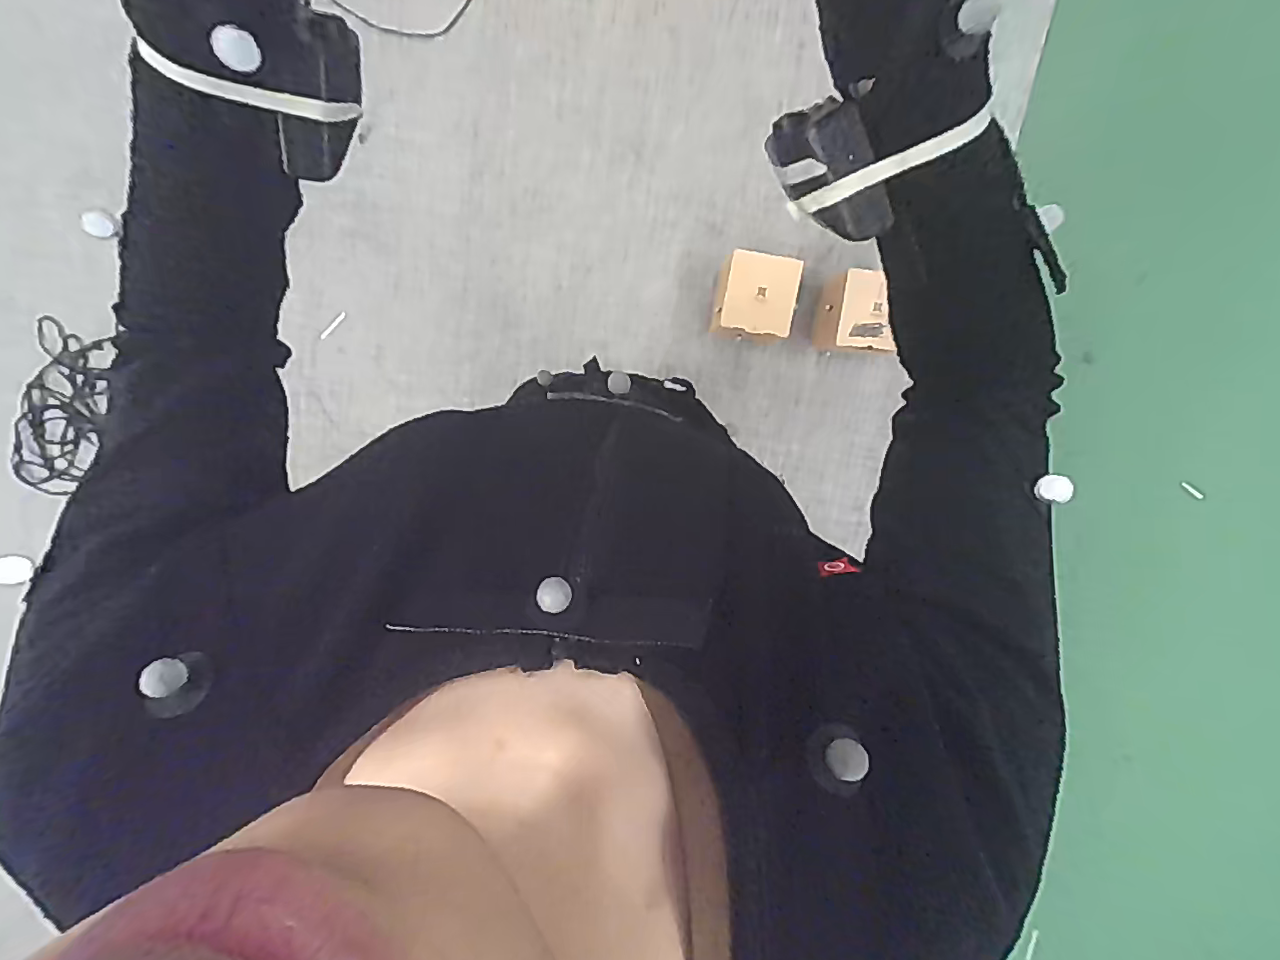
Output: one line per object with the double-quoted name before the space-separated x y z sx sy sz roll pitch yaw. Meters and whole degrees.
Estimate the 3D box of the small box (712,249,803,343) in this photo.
"small box" 0.277 -0.439 1.316 0.168 0.176 0.179 9 100 -2

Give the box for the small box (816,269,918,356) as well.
"small box" 0.543 -0.401 1.322 0.168 0.176 0.179 6 100 -1
